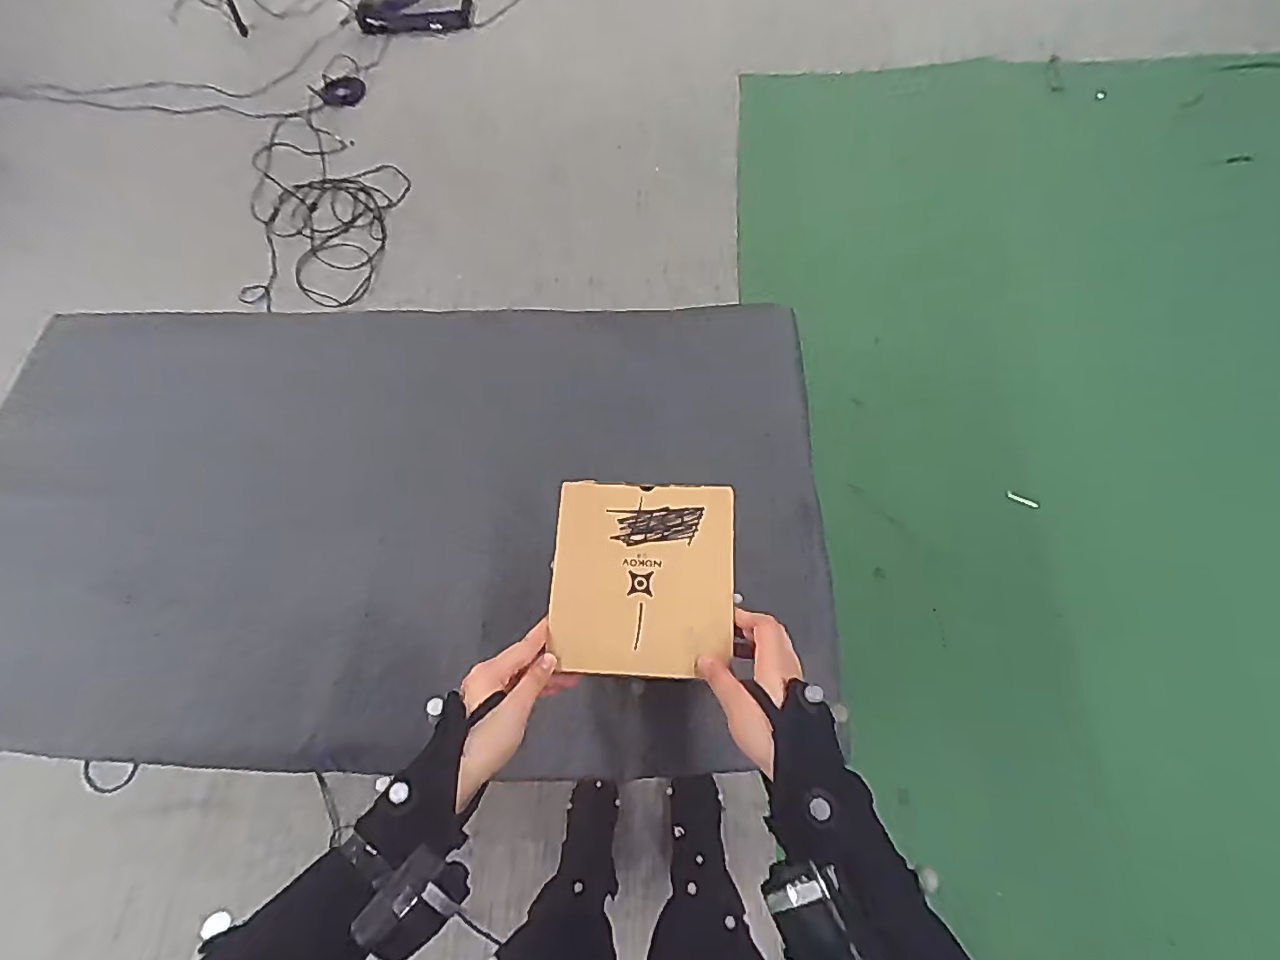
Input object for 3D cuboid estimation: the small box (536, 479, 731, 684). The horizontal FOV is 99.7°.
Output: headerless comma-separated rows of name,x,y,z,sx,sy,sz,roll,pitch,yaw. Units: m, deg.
small box,0.002,0.112,0.559,0.168,0.176,0.179,2,70,5
